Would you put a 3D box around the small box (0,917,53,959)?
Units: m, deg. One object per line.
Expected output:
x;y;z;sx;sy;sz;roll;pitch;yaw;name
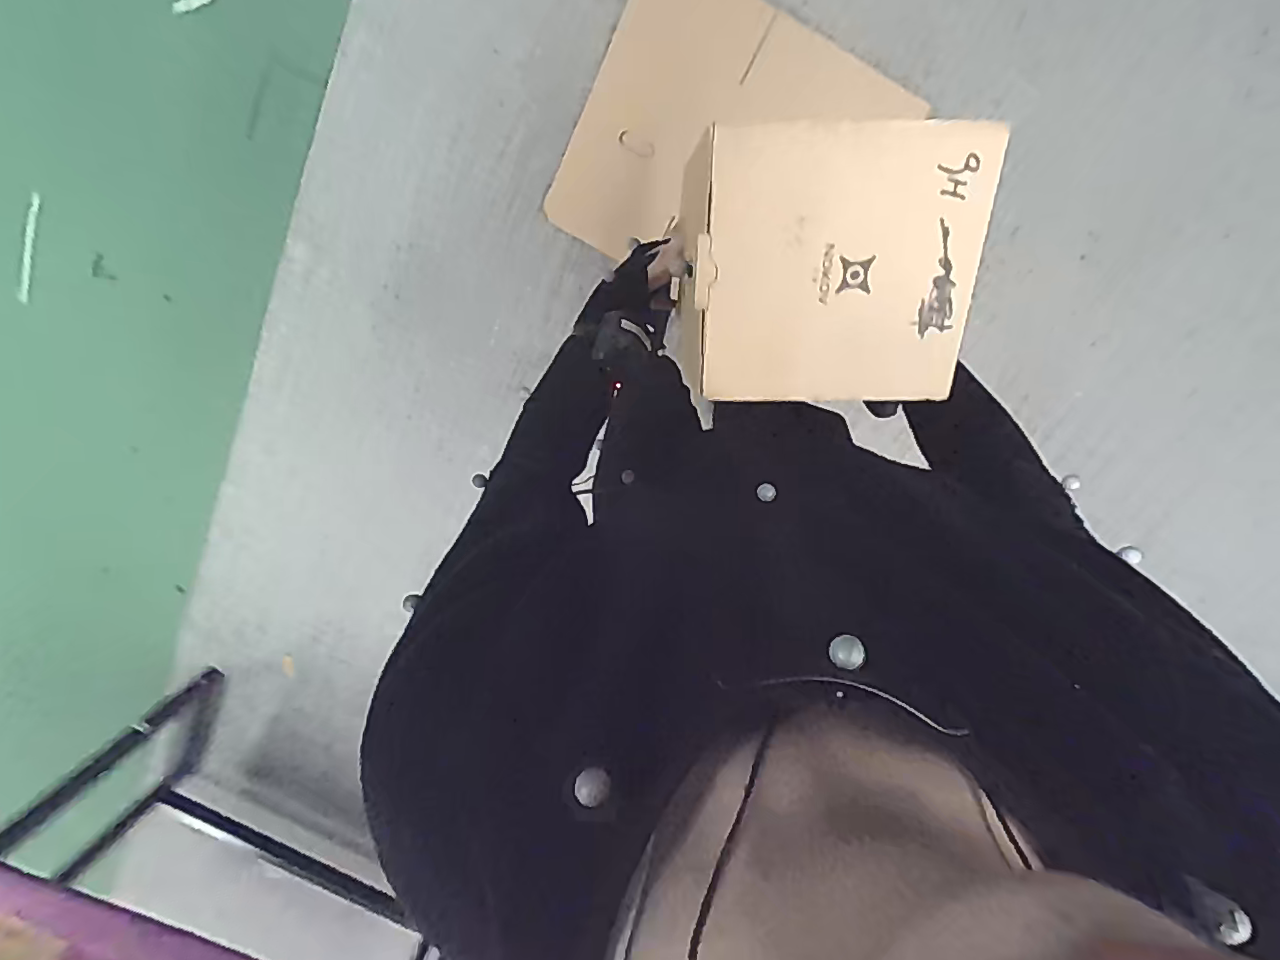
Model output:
-1.430;1.084;1.153;0.168;0.176;0.179;36;108;-8;small box

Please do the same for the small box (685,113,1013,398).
0.126;-0.163;0.411;0.179;0.176;0.168;0;113;0;small box
